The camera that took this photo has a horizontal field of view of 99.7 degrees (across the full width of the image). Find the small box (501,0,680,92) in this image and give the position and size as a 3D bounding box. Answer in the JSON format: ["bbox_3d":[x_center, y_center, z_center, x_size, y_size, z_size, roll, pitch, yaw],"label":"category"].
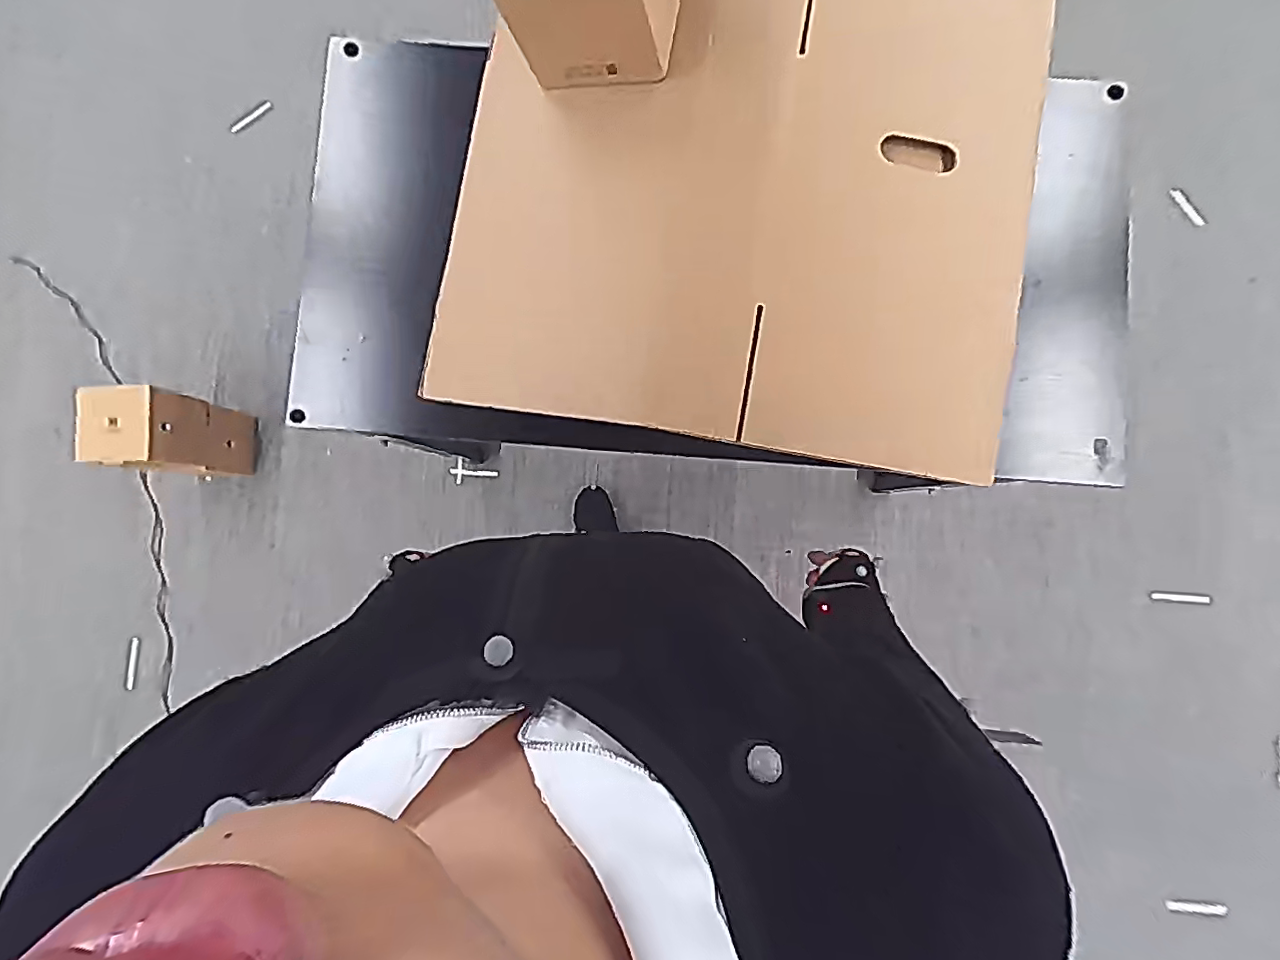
[{"bbox_3d":[-0.054,-0.566,0.584,0.168,0.176,0.179,9,85,17],"label":"small box"}]

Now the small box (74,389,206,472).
[{"bbox_3d":[-1.181,-0.111,1.289,0.168,0.176,0.179,-3,85,0],"label":"small box"}]

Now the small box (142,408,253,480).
[{"bbox_3d":[-1.178,-0.093,1.450,0.168,0.176,0.179,0,87,1],"label":"small box"}]
